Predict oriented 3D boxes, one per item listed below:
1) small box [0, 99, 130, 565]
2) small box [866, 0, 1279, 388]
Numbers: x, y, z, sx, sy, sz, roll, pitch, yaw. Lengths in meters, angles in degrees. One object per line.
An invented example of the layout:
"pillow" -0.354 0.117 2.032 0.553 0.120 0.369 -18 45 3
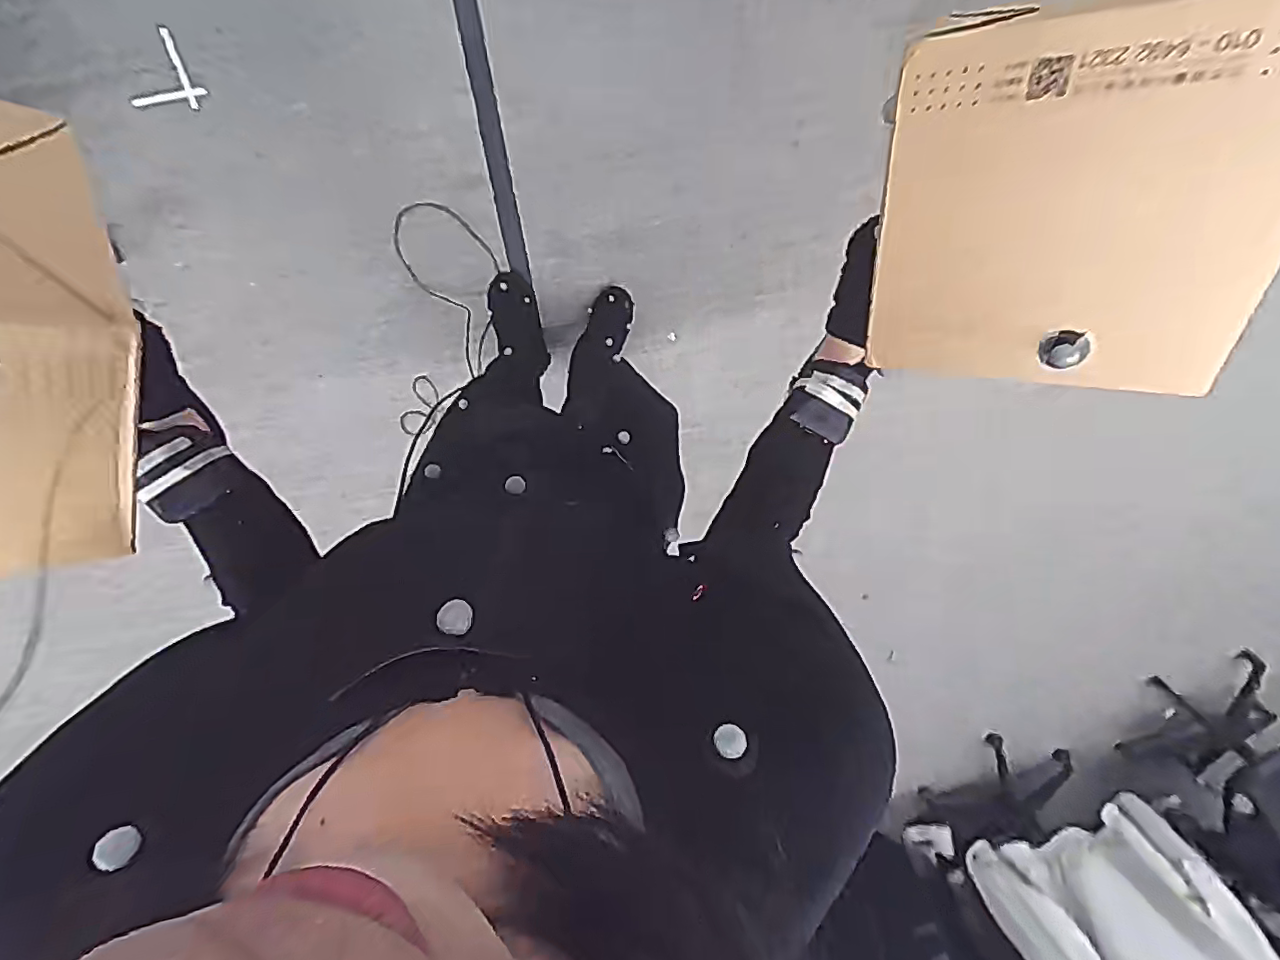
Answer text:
"small box" -0.352 -0.070 0.238 0.168 0.179 0.176 -10 146 -47
"small box" 0.238 -0.176 0.303 0.168 0.179 0.176 13 135 27
